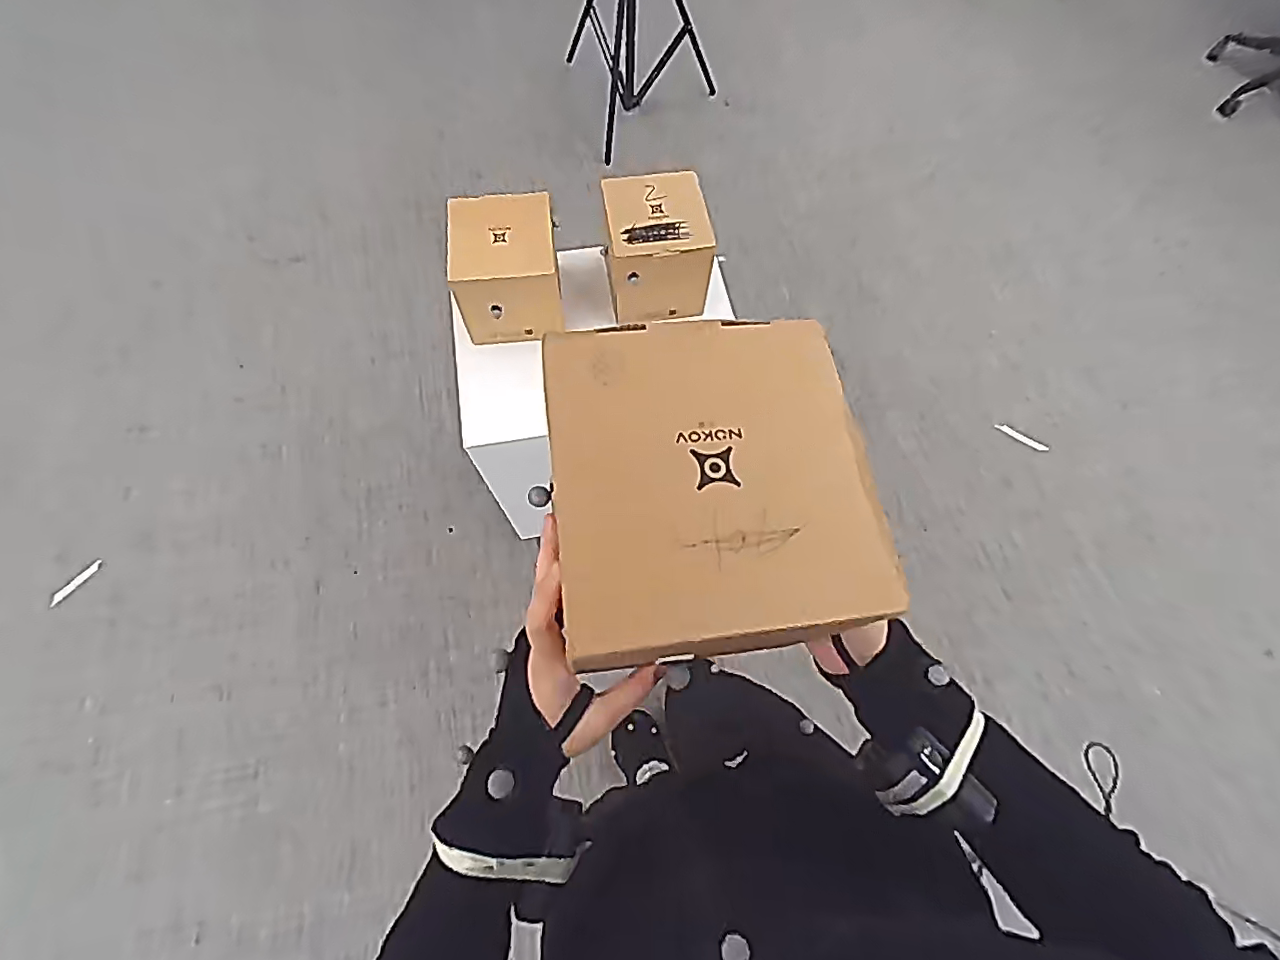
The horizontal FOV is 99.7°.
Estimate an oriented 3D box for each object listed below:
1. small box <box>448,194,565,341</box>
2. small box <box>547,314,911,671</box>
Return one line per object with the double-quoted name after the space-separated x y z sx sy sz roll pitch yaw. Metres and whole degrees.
-0.223 -0.354 0.929 0.168 0.176 0.179 -6 68 -5 "small box"
0.030 0.019 0.350 0.168 0.176 0.179 -6 69 -8 "small box"
